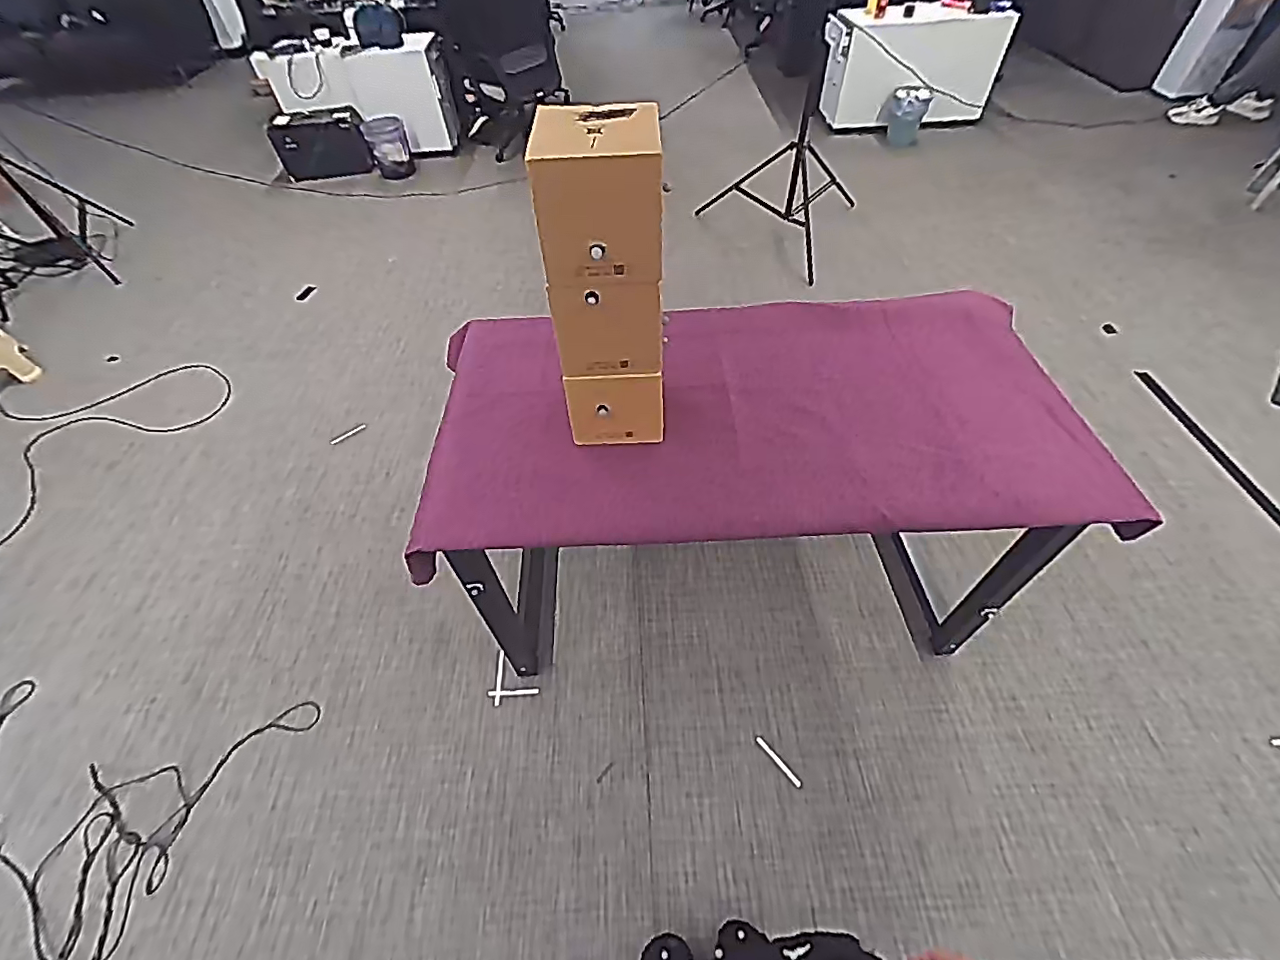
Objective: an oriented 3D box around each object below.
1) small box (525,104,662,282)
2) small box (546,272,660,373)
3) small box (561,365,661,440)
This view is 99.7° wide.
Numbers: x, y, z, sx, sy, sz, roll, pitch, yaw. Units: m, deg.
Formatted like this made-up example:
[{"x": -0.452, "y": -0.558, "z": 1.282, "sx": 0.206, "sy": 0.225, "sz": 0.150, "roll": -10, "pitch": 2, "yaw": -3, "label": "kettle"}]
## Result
[{"x": -0.055, "y": -0.397, "z": 0.752, "sx": 0.168, "sy": 0.176, "sz": 0.179, "roll": -2, "pitch": 51, "yaw": 1, "label": "small box"}, {"x": -0.053, "y": -0.294, "z": 0.882, "sx": 0.168, "sy": 0.176, "sz": 0.179, "roll": -3, "pitch": 50, "yaw": 1, "label": "small box"}, {"x": -0.046, "y": -0.186, "z": 1.005, "sx": 0.168, "sy": 0.176, "sz": 0.179, "roll": -2, "pitch": 51, "yaw": 1, "label": "small box"}]
